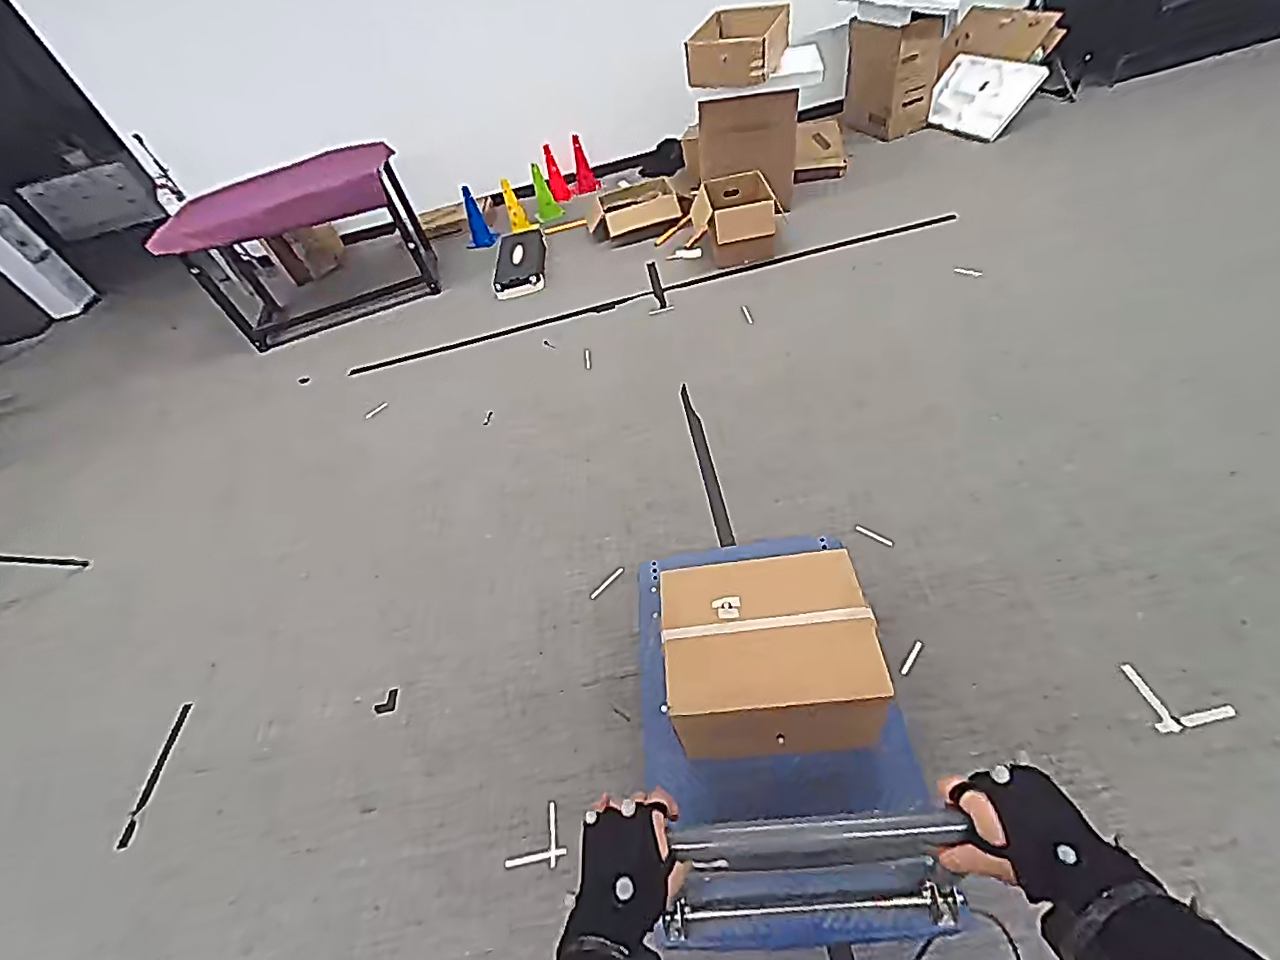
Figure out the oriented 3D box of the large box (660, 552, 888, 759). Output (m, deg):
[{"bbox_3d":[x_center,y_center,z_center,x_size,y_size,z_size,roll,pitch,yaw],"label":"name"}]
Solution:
[{"bbox_3d":[0.276,0.396,1.192,0.408,0.320,0.320,-9,46,8],"label":"large box"}]
